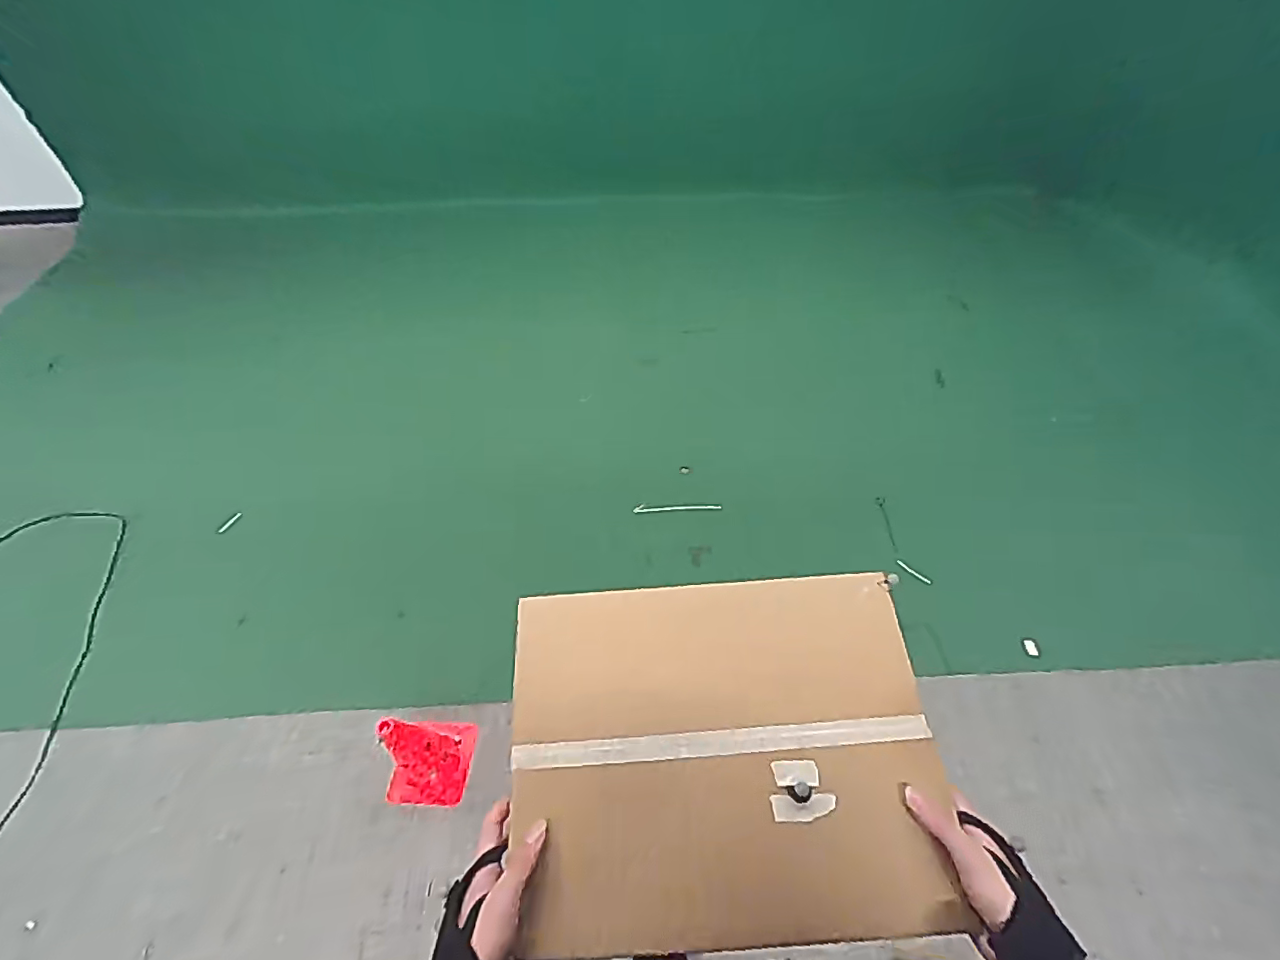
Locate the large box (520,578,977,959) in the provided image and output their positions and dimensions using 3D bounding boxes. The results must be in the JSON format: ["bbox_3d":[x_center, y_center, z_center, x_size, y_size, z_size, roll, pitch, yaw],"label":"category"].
[{"bbox_3d":[0.084,0.333,0.660,0.408,0.320,0.320,-5,62,-1],"label":"large box"}]

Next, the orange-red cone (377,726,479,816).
[{"bbox_3d":[-0.551,0.669,1.310,0.199,0.360,0.198,2,50,4],"label":"orange-red cone"}]
